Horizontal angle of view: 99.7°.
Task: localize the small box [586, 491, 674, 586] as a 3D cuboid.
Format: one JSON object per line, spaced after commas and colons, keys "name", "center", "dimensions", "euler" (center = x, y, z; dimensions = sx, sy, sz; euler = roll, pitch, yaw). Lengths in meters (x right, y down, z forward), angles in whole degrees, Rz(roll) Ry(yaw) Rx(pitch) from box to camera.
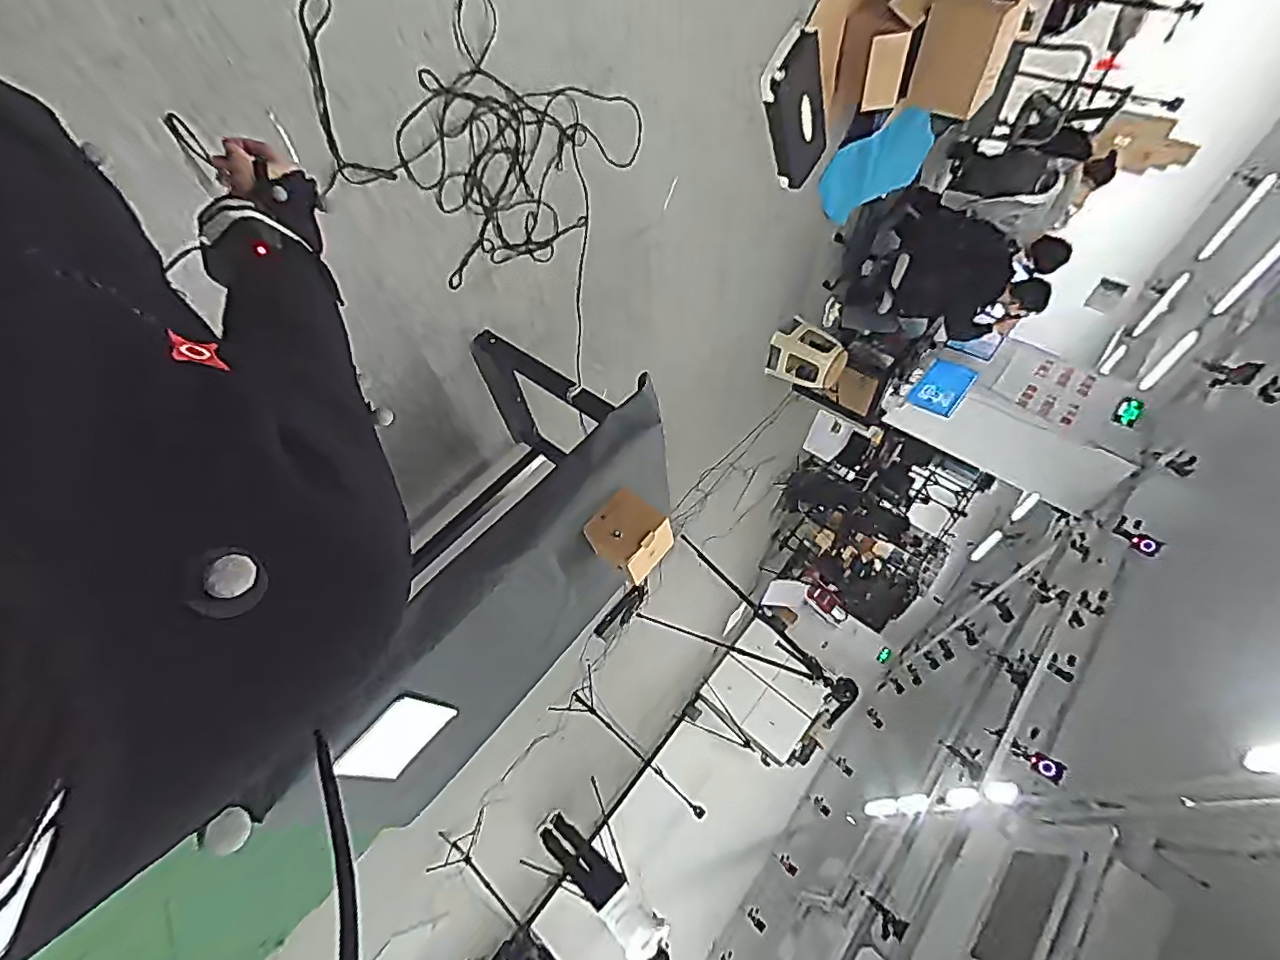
{"name": "small box", "center": [-0.027, 0.155, 1.479], "dimensions": [0.168, 0.176, 0.179], "euler": [-47, 155, -16]}
